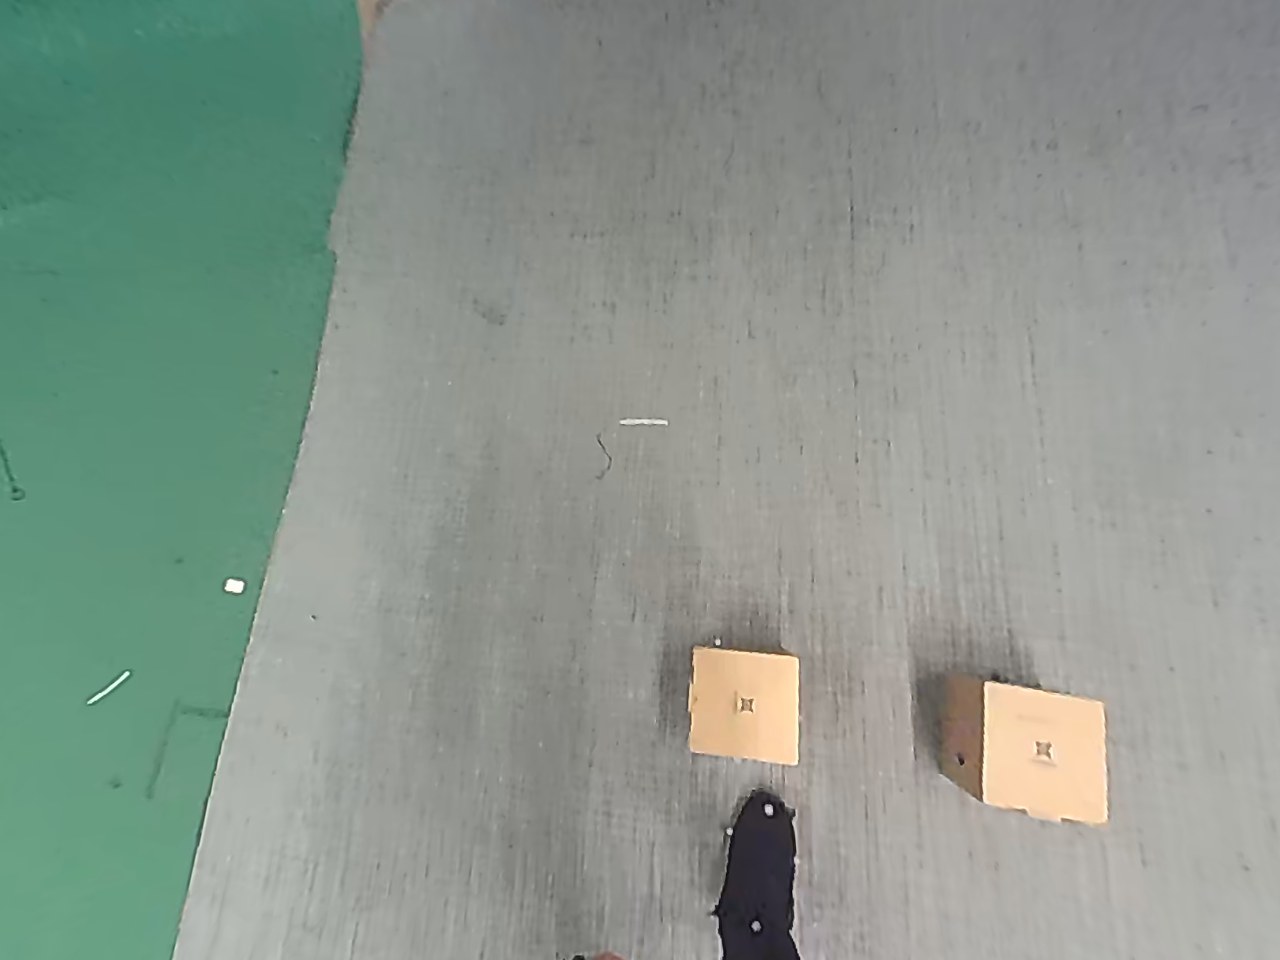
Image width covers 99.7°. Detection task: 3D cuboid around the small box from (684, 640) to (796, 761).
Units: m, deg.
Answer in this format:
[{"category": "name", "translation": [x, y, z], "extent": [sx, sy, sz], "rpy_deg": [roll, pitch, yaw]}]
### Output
[{"category": "small box", "translation": [0.176, 0.378, 0.957], "extent": [0.179, 0.176, 0.168], "rpy_deg": [2, 76, 11]}]

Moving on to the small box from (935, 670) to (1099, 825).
[{"category": "small box", "translation": [0.597, 0.418, 0.877], "extent": [0.168, 0.176, 0.179], "rpy_deg": [7, 76, 10]}]
